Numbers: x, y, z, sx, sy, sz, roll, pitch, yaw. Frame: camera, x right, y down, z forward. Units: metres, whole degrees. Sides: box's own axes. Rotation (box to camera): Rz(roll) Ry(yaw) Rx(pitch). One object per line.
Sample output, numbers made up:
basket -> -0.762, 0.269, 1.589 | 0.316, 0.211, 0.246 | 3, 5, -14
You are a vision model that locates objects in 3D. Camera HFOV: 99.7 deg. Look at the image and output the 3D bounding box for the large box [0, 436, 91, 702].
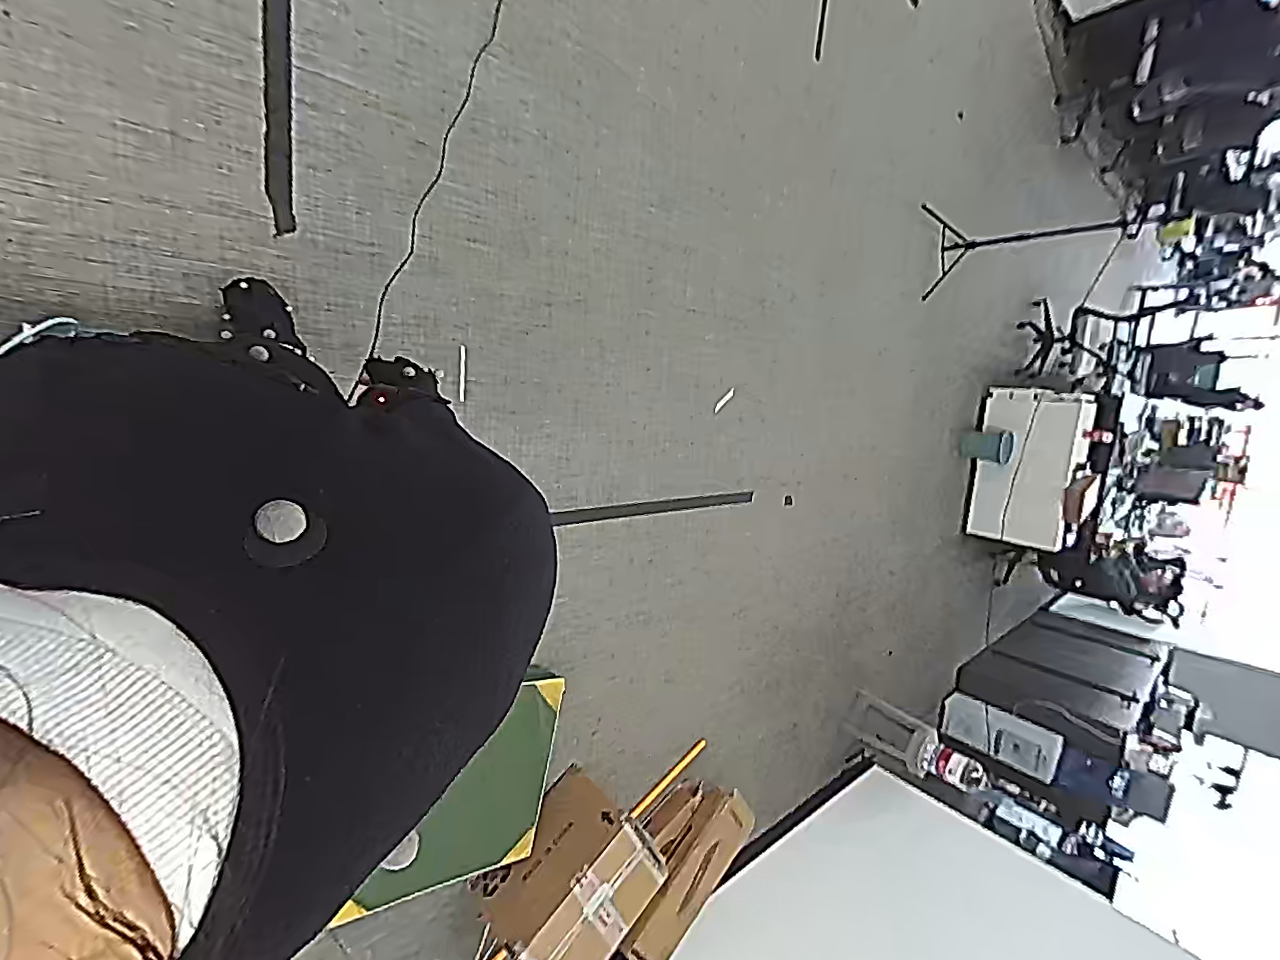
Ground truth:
large box -> -0.904, 0.066, 0.577 | 0.320, 0.408, 0.320 | -26, 152, -37
